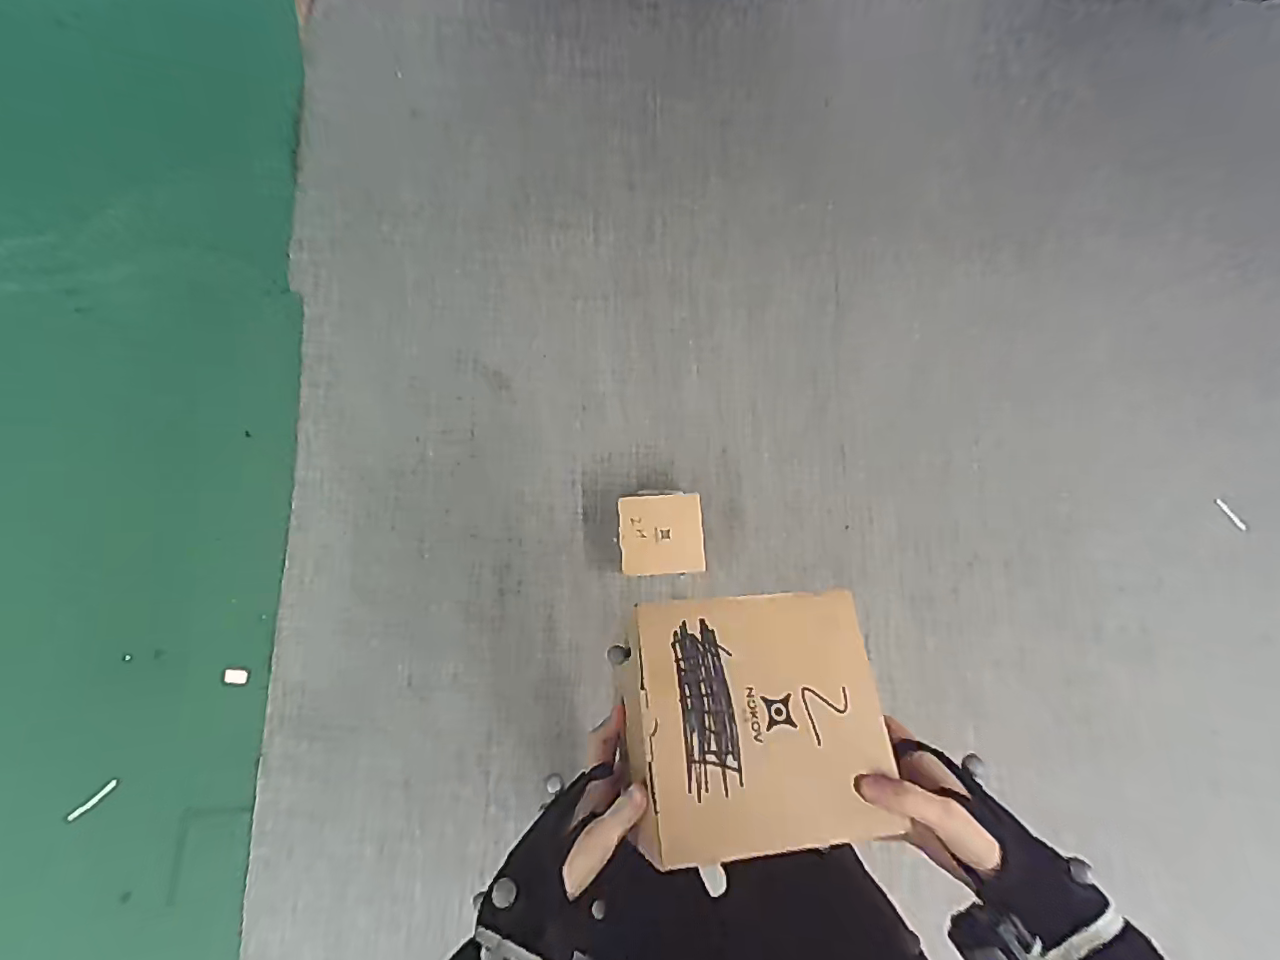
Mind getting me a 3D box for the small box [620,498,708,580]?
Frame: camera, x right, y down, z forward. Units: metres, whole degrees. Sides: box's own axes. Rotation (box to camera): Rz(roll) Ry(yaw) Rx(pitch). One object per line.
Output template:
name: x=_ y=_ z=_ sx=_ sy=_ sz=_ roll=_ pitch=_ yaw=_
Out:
small box: x=0.046 y=0.131 z=1.199 sx=0.179 sy=0.176 sz=0.168 roll=-3 pitch=82 yaw=-2
